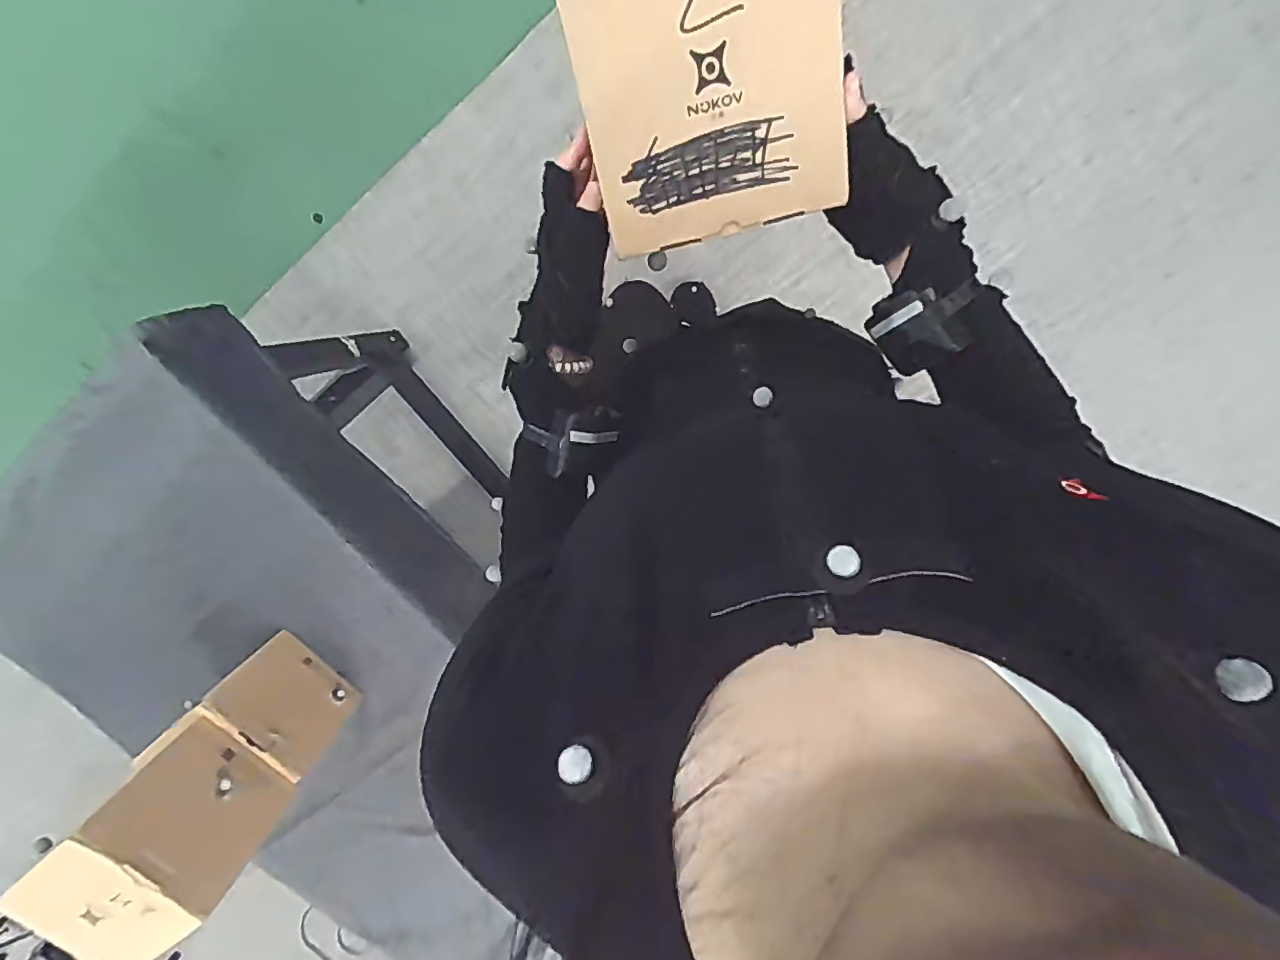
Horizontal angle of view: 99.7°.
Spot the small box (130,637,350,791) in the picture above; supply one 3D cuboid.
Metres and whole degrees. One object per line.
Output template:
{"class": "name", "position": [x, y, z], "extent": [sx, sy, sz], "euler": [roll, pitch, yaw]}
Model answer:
{"class": "small box", "position": [-0.575, 0.372, 0.809], "extent": [0.179, 0.176, 0.168], "euler": [-37, 103, 14]}

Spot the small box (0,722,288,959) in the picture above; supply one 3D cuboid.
{"class": "small box", "position": [-0.585, 0.442, 0.659], "extent": [0.179, 0.176, 0.168], "euler": [-39, 103, 13]}
